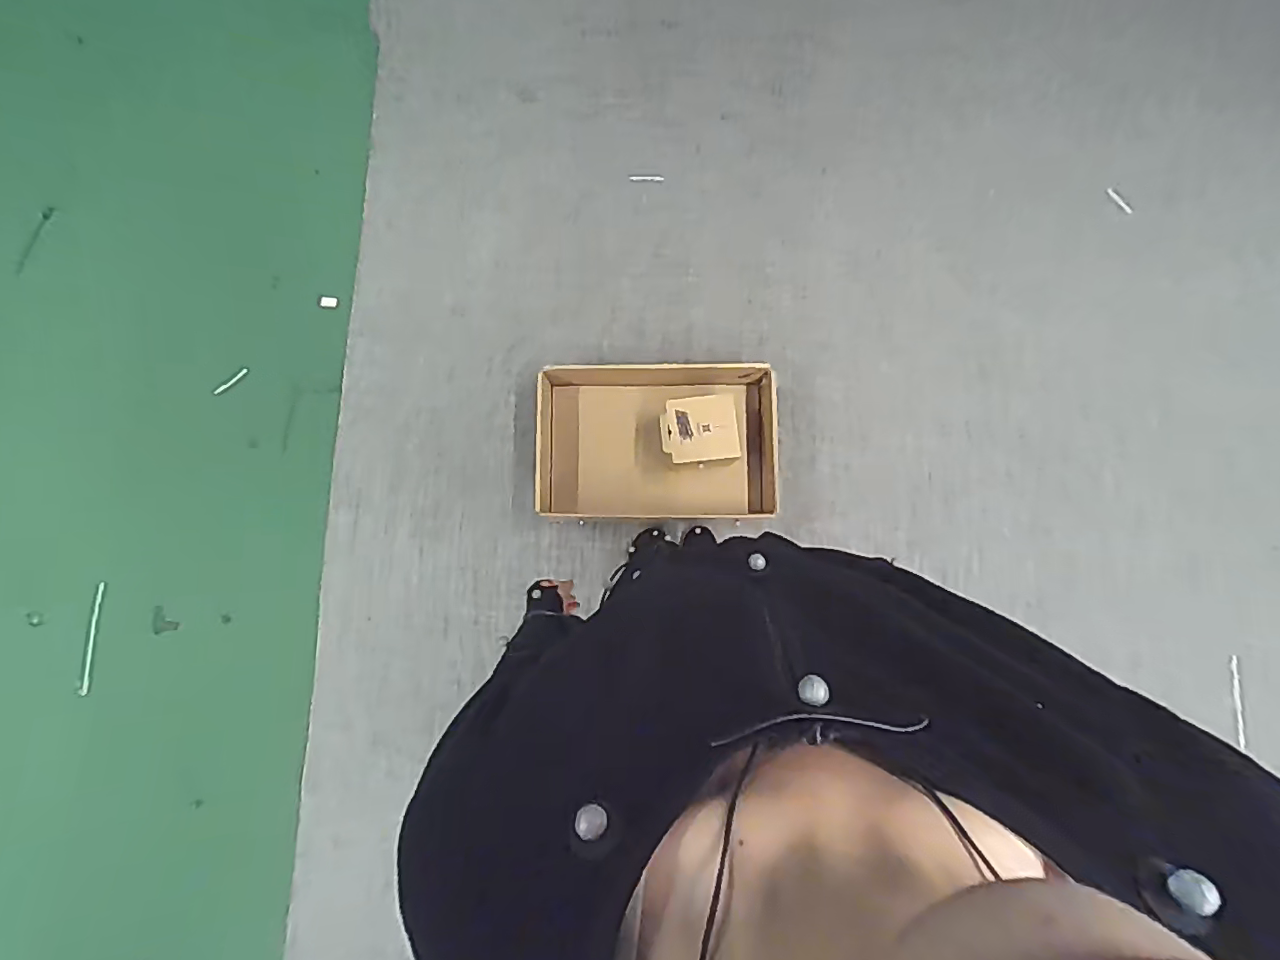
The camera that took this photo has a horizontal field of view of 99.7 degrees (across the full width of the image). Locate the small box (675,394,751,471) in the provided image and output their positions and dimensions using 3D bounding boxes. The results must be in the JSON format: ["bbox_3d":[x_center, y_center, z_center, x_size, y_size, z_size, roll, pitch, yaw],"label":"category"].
[{"bbox_3d":[0.187,-0.119,1.428,0.179,0.176,0.168,-6,84,2],"label":"small box"}]
